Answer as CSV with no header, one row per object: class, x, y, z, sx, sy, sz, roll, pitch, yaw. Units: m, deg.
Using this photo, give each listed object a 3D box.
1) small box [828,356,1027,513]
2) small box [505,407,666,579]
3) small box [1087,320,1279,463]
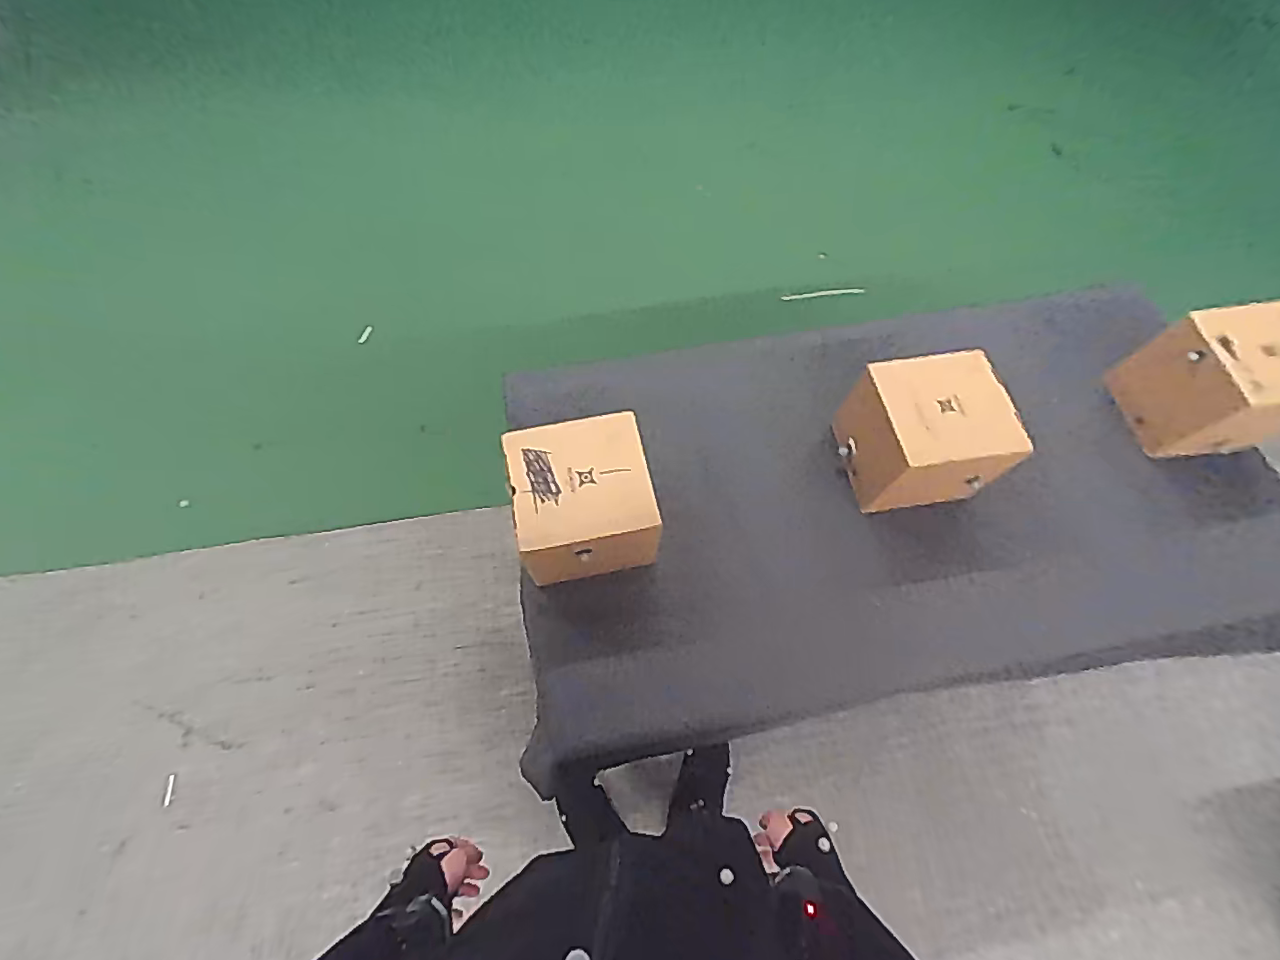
small box,0.414,-0.063,0.813,0.179,0.176,0.168,-8,65,-7
small box,-0.074,0.024,0.729,0.179,0.176,0.168,-9,67,-10
small box,0.903,-0.139,0.885,0.179,0.176,0.168,-5,66,-7
